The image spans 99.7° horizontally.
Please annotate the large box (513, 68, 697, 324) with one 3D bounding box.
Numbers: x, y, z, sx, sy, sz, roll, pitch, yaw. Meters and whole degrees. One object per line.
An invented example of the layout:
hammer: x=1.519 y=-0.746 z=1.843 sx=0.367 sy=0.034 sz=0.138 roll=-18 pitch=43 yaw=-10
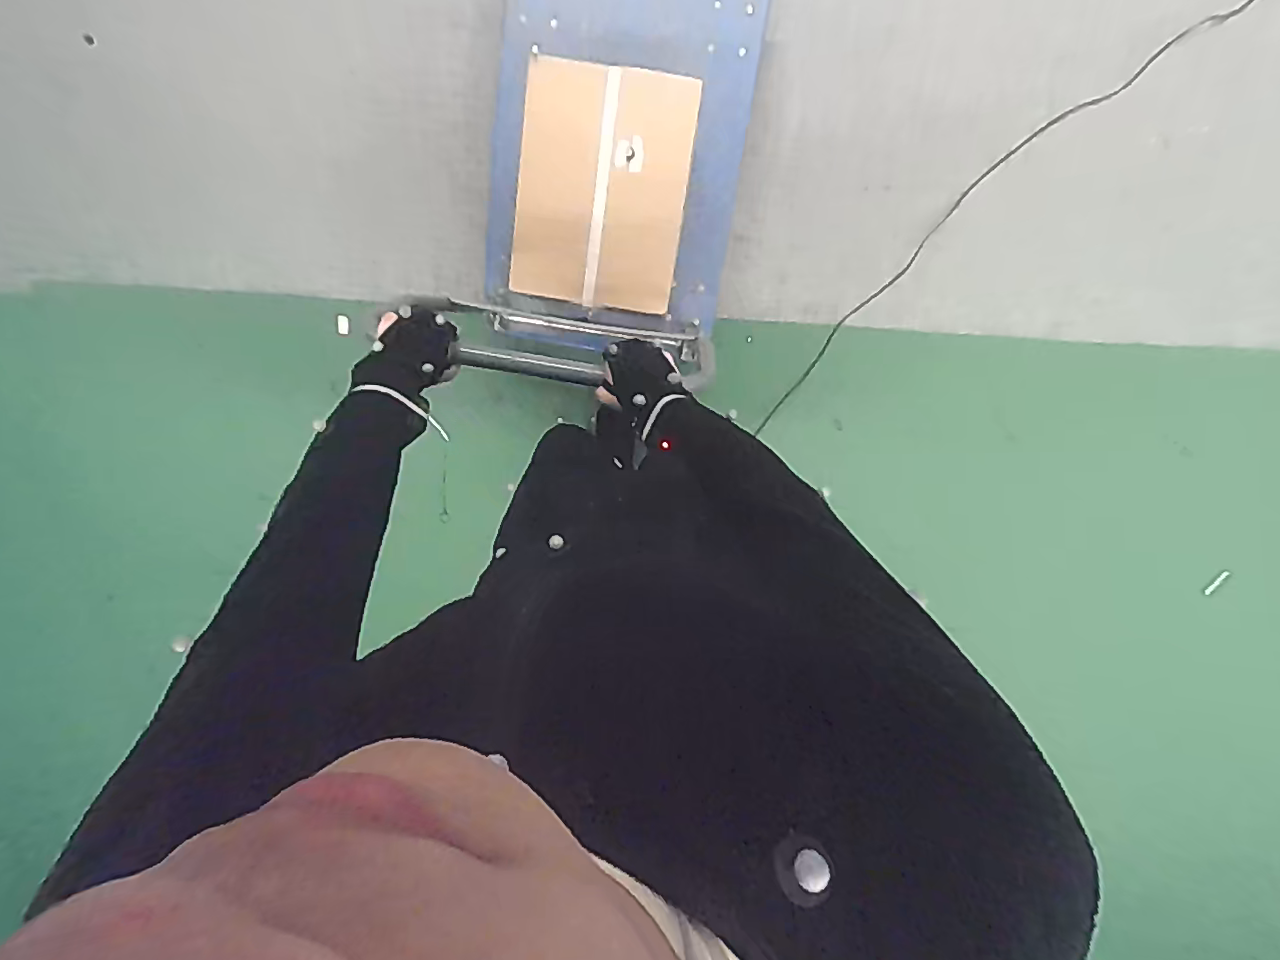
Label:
large box: x=-0.066 y=-0.565 z=1.164 sx=0.320 sy=0.320 sz=0.408 roll=9 pitch=104 yaw=0
